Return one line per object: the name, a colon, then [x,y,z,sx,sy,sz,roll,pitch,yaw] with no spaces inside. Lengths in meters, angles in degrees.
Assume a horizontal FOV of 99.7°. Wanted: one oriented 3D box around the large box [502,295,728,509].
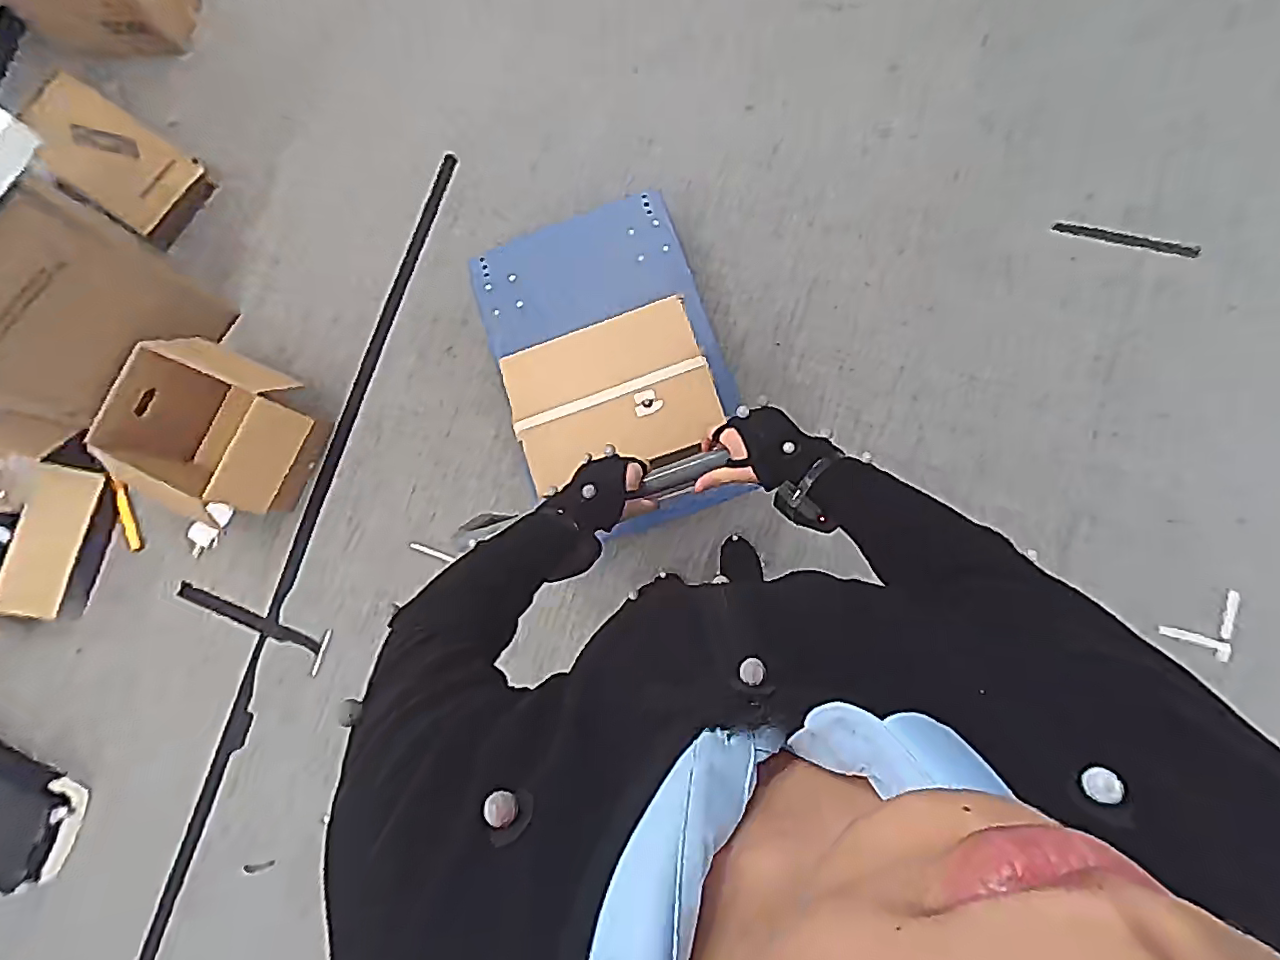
large box: [-0.043,-0.152,1.246,0.408,0.320,0.320,-19,81,3]
